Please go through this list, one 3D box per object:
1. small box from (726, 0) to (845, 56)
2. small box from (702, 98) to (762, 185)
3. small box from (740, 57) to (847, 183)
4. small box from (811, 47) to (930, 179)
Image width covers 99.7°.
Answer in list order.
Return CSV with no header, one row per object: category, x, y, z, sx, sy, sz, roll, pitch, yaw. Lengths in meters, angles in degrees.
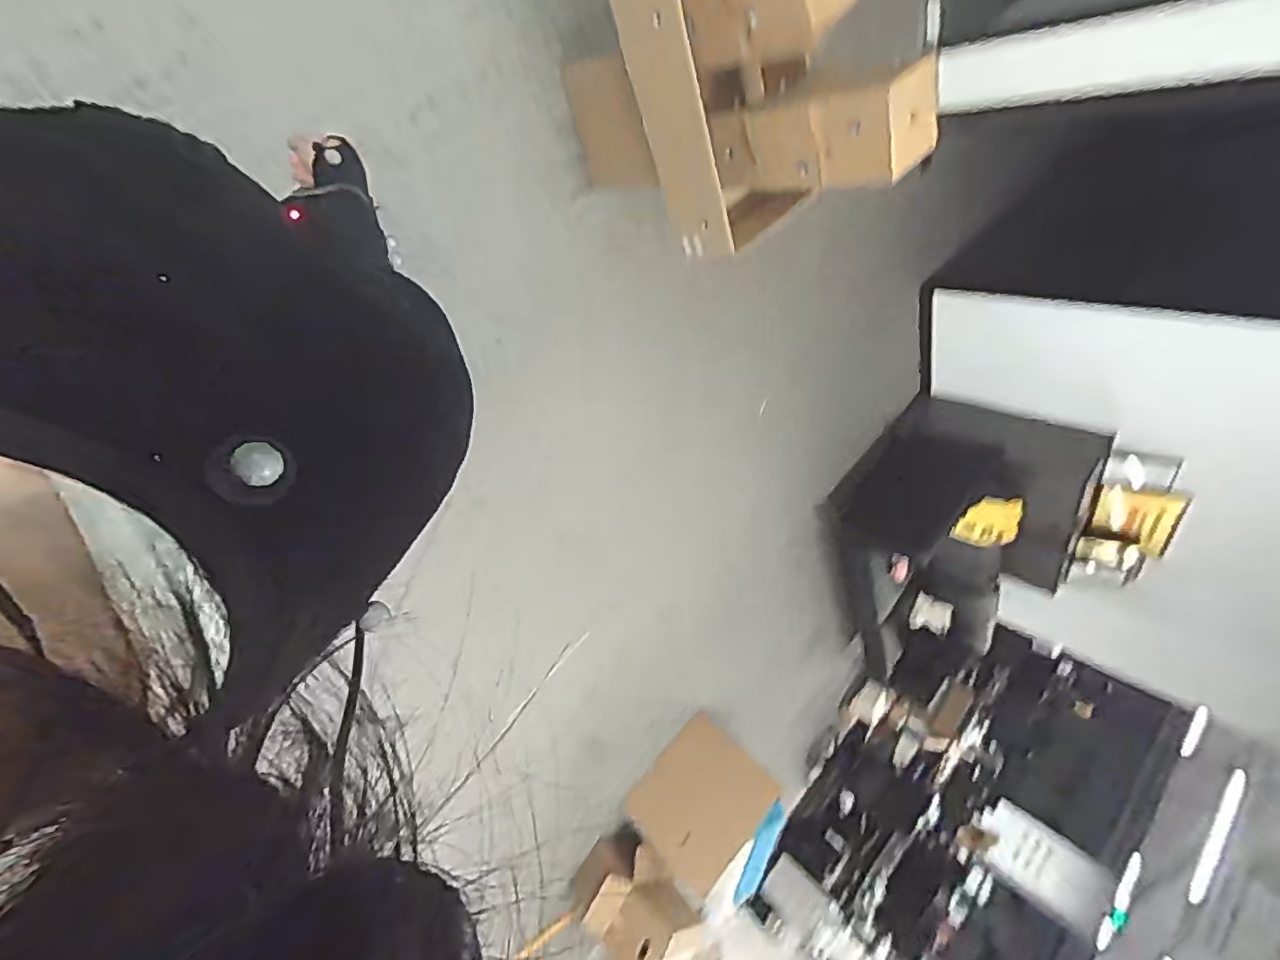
small box,0.286,-0.976,1.049,0.179,0.176,0.168,-55,136,-7
small box,0.268,-0.844,1.341,0.179,0.176,0.168,-35,130,-26
small box,0.352,-0.790,1.206,0.168,0.176,0.179,-50,134,-15
small box,0.465,-0.737,1.103,0.179,0.176,0.168,-44,133,-21
